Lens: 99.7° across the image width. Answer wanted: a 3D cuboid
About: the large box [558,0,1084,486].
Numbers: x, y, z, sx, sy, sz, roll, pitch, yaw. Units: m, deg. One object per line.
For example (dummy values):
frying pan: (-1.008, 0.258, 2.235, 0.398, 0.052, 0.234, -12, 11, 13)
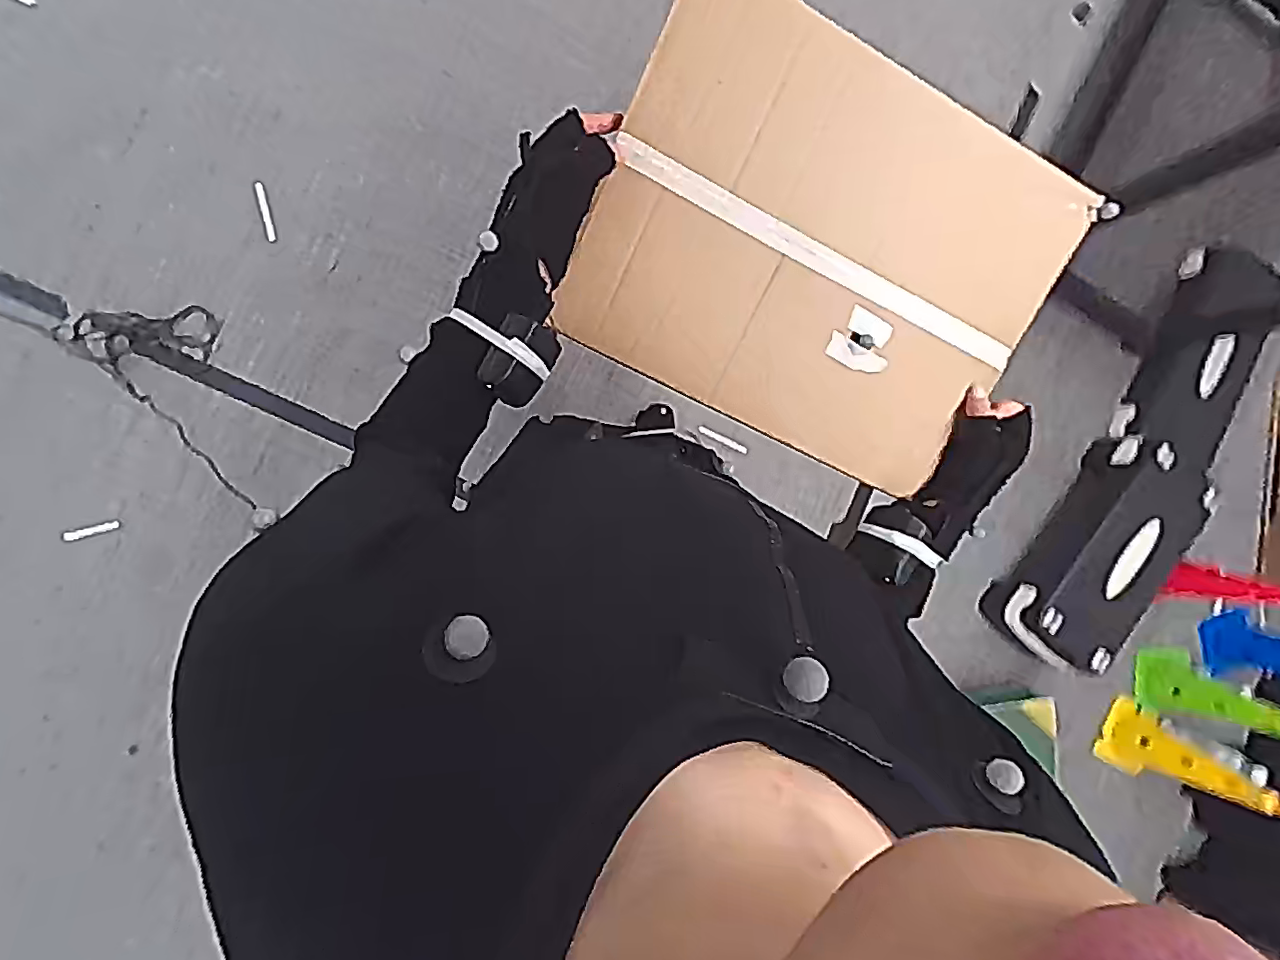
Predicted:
large box: (0.153, -0.240, 0.631, 0.408, 0.320, 0.320, 24, 103, -11)
